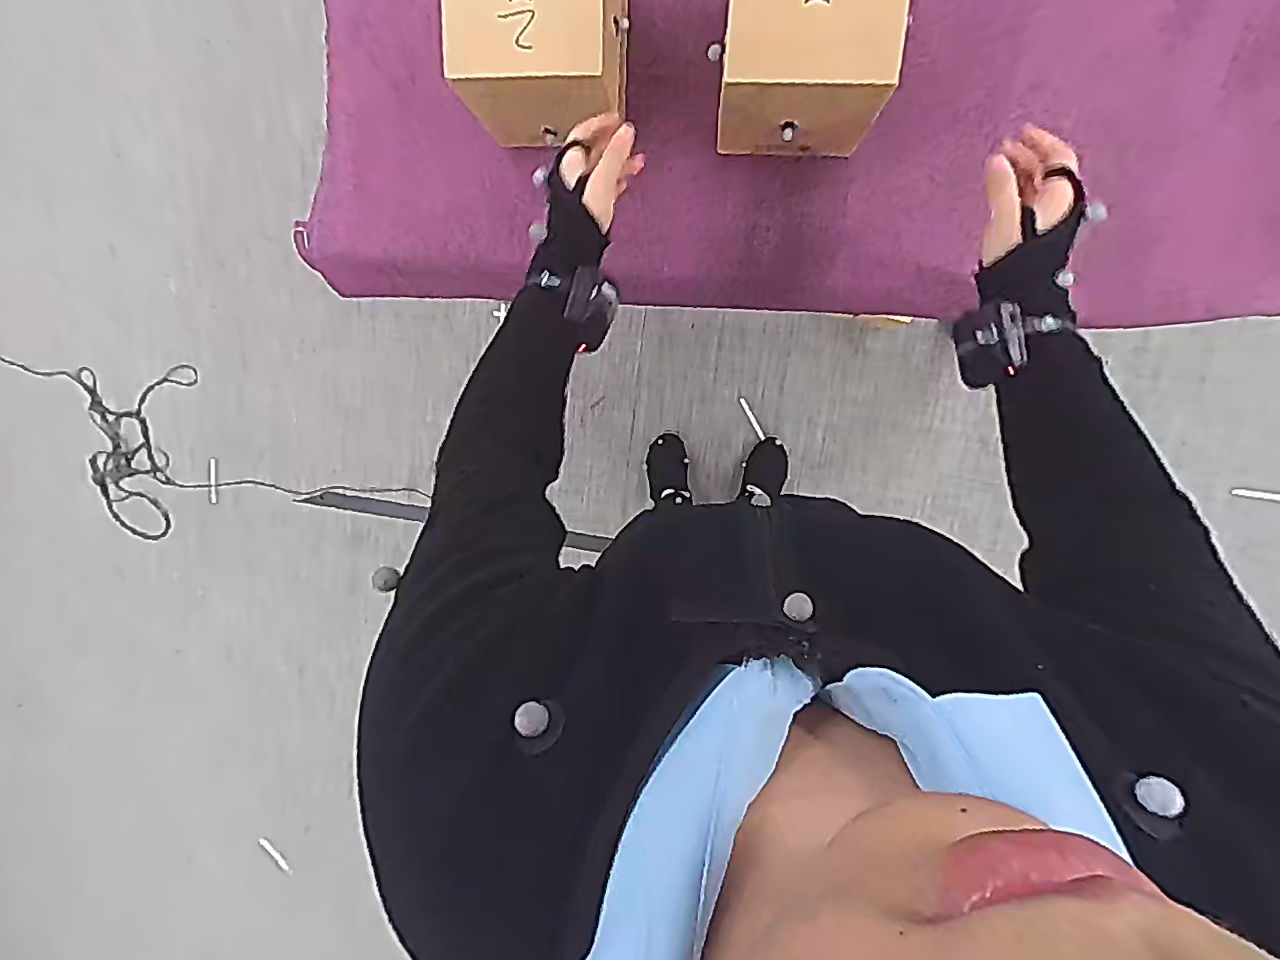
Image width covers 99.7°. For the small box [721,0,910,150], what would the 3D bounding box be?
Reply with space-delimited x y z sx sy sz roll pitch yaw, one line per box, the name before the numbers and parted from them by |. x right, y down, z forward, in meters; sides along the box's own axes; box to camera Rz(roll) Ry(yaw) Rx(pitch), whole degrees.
small box | 0.178 -0.481 0.580 0.168 0.176 0.179 5 100 4

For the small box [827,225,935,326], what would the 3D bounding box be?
small box | 0.559 -0.475 1.286 0.168 0.176 0.179 16 101 4
